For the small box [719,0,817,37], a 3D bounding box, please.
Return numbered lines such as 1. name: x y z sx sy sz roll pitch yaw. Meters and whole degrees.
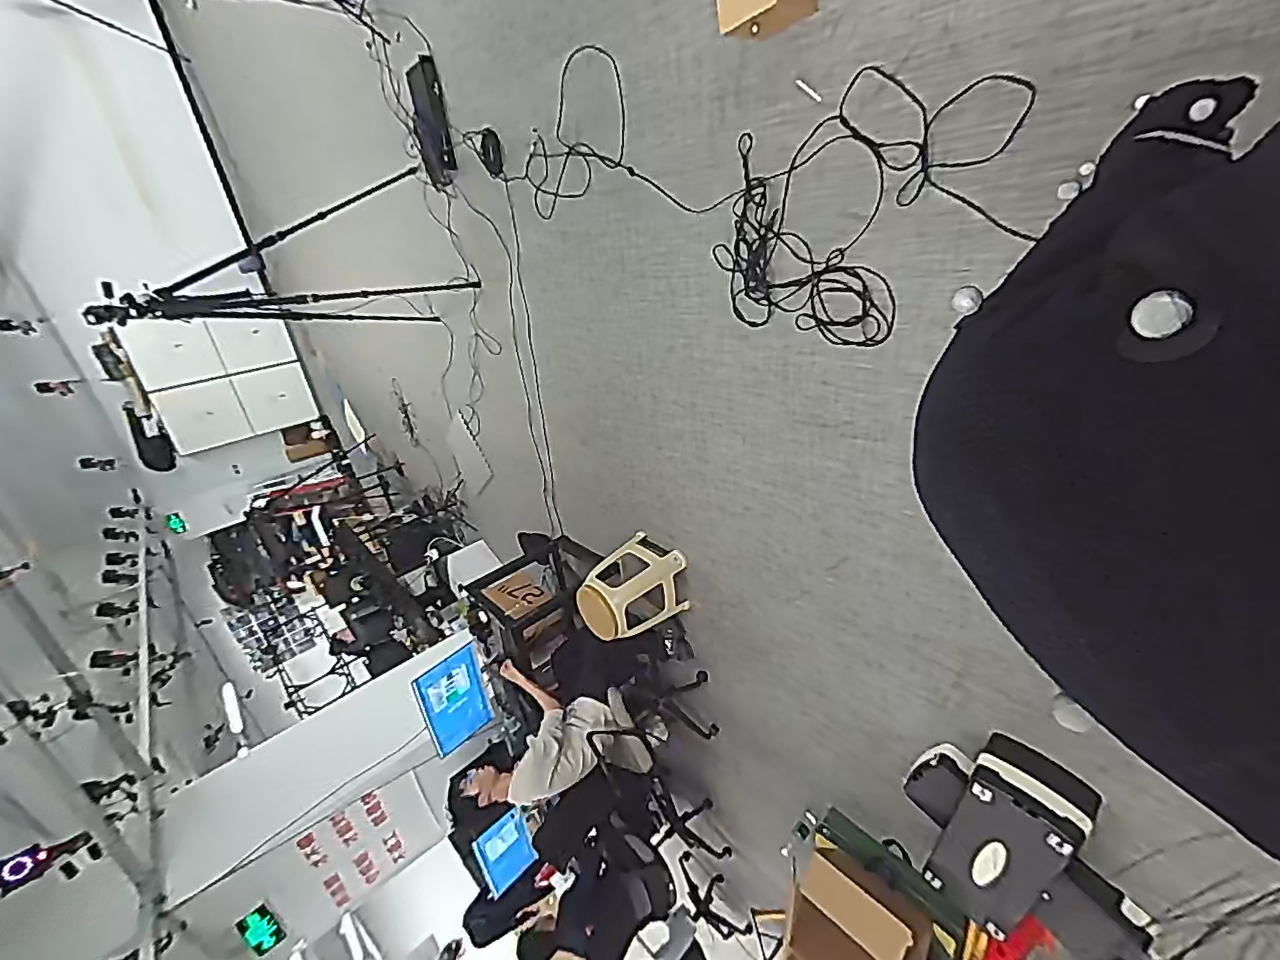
1. small box: 0.307 -1.213 1.315 0.179 0.176 0.168 13 123 48
